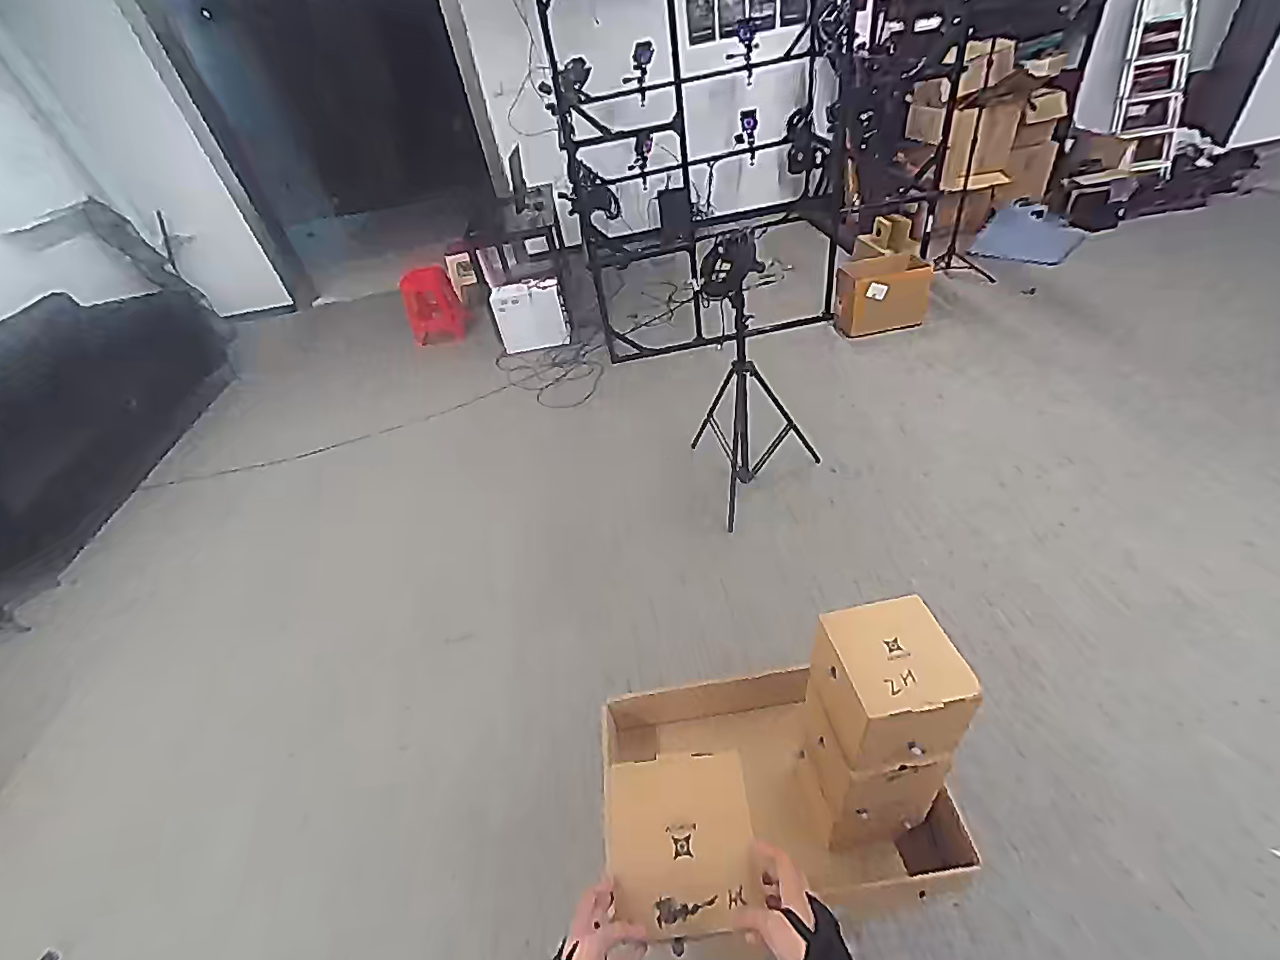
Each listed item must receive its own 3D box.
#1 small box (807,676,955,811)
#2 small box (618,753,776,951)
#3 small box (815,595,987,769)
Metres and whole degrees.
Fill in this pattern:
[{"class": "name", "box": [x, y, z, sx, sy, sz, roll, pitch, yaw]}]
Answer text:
[{"class": "small box", "box": [0.399, 0.443, 0.929, 0.168, 0.176, 0.179, -11, 39, -1]}, {"class": "small box", "box": [0.065, 0.467, 0.678, 0.168, 0.176, 0.179, -8, 48, 3]}, {"class": "small box", "box": [0.383, 0.310, 0.833, 0.168, 0.176, 0.179, -12, 41, -1]}]
